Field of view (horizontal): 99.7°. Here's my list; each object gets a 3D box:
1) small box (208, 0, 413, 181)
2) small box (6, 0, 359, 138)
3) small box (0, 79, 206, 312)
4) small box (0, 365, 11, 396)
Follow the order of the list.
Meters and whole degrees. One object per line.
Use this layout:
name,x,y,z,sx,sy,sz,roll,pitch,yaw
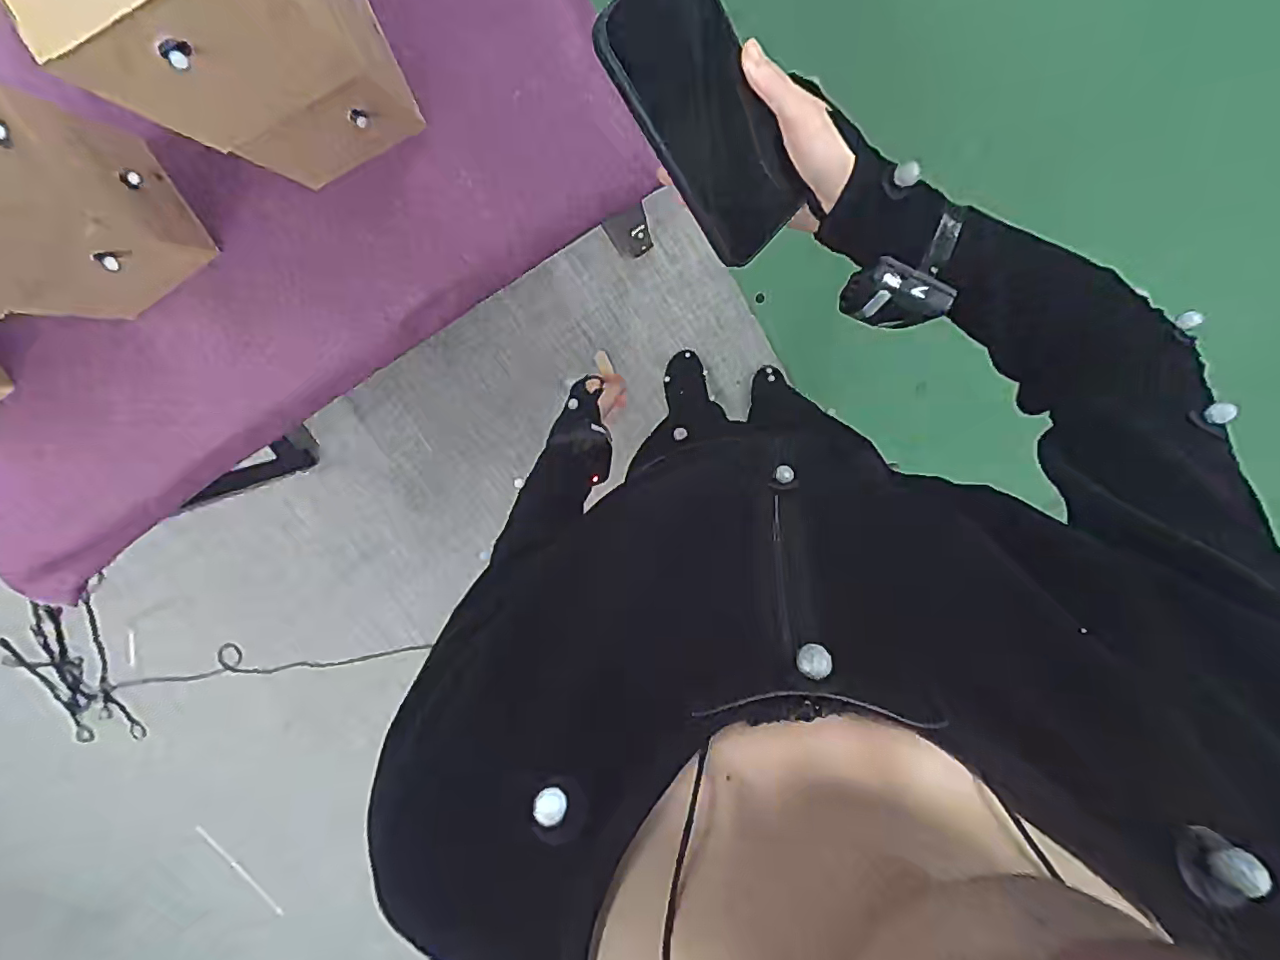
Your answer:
small box,-0.381,-0.469,0.598,0.179,0.176,0.168,-22,100,9
small box,-0.379,-0.423,0.440,0.179,0.176,0.168,-23,100,9
small box,-0.684,-0.322,0.654,0.179,0.176,0.168,-28,99,10
small box,-1.032,-0.157,0.720,0.168,0.176,0.179,-28,99,10
